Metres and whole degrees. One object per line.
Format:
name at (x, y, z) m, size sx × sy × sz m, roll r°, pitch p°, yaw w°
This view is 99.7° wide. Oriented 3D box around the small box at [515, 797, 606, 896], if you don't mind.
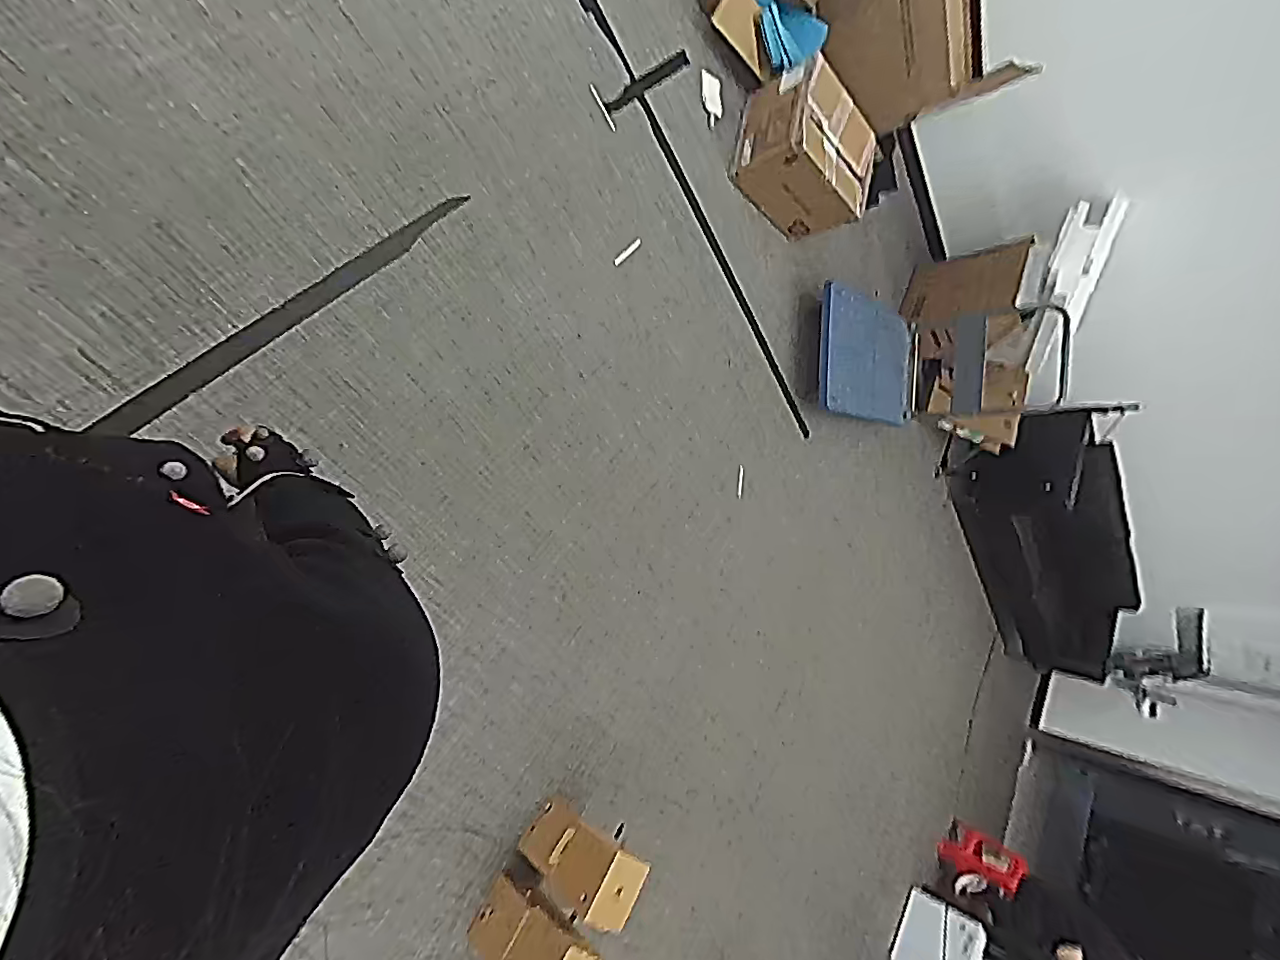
small box at (-0.242, 1.096, 1.631) m, size 0.168 × 0.176 × 0.179 m, roll -51°, pitch 123°, yaw -29°
